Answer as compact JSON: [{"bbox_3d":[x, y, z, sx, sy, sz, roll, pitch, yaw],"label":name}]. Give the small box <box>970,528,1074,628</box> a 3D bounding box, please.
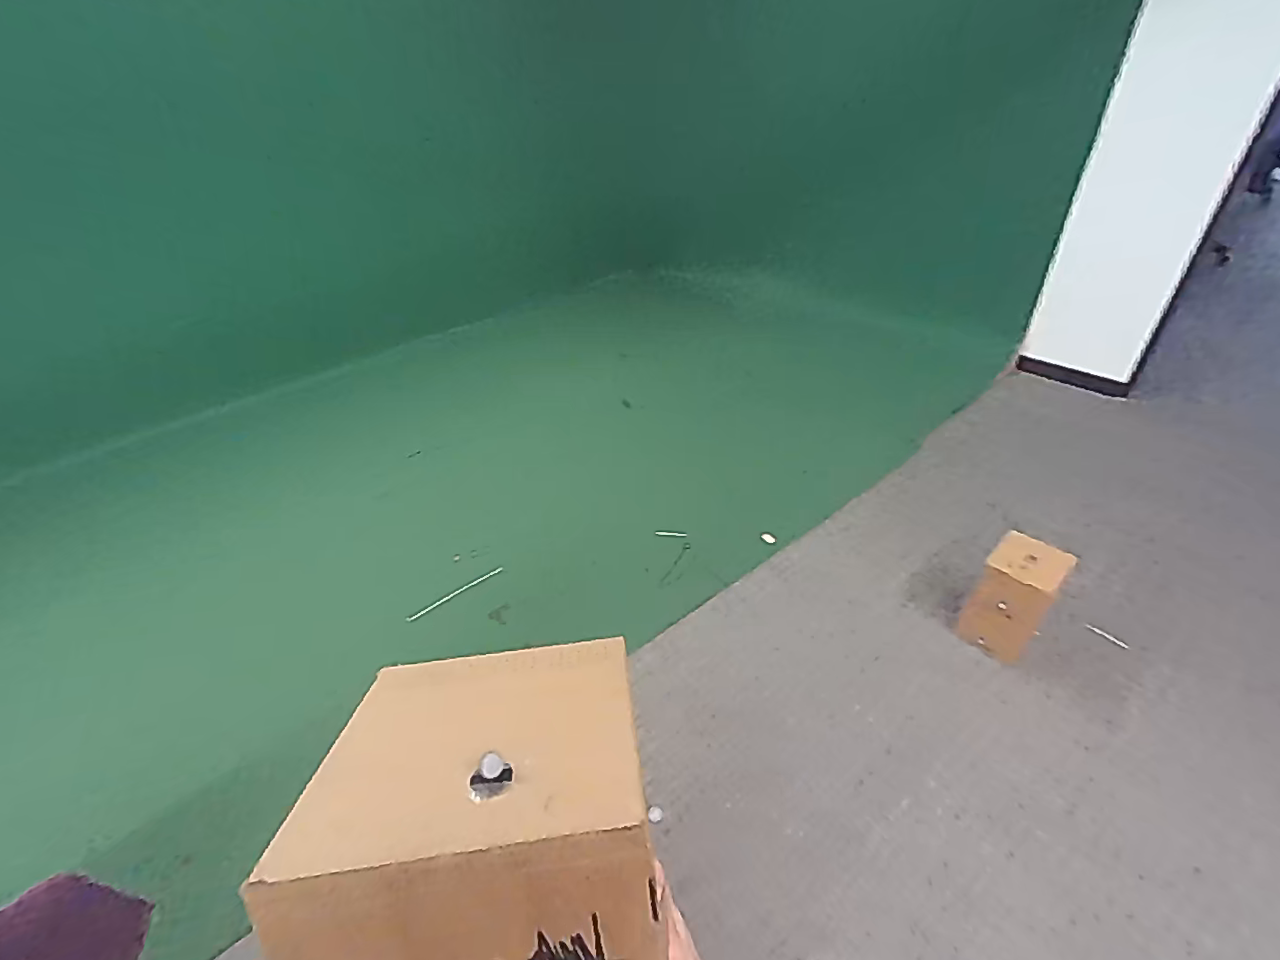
[{"bbox_3d":[1.056,0.272,1.508,0.179,0.176,0.168,-33,44,-27],"label":"small box"}]
